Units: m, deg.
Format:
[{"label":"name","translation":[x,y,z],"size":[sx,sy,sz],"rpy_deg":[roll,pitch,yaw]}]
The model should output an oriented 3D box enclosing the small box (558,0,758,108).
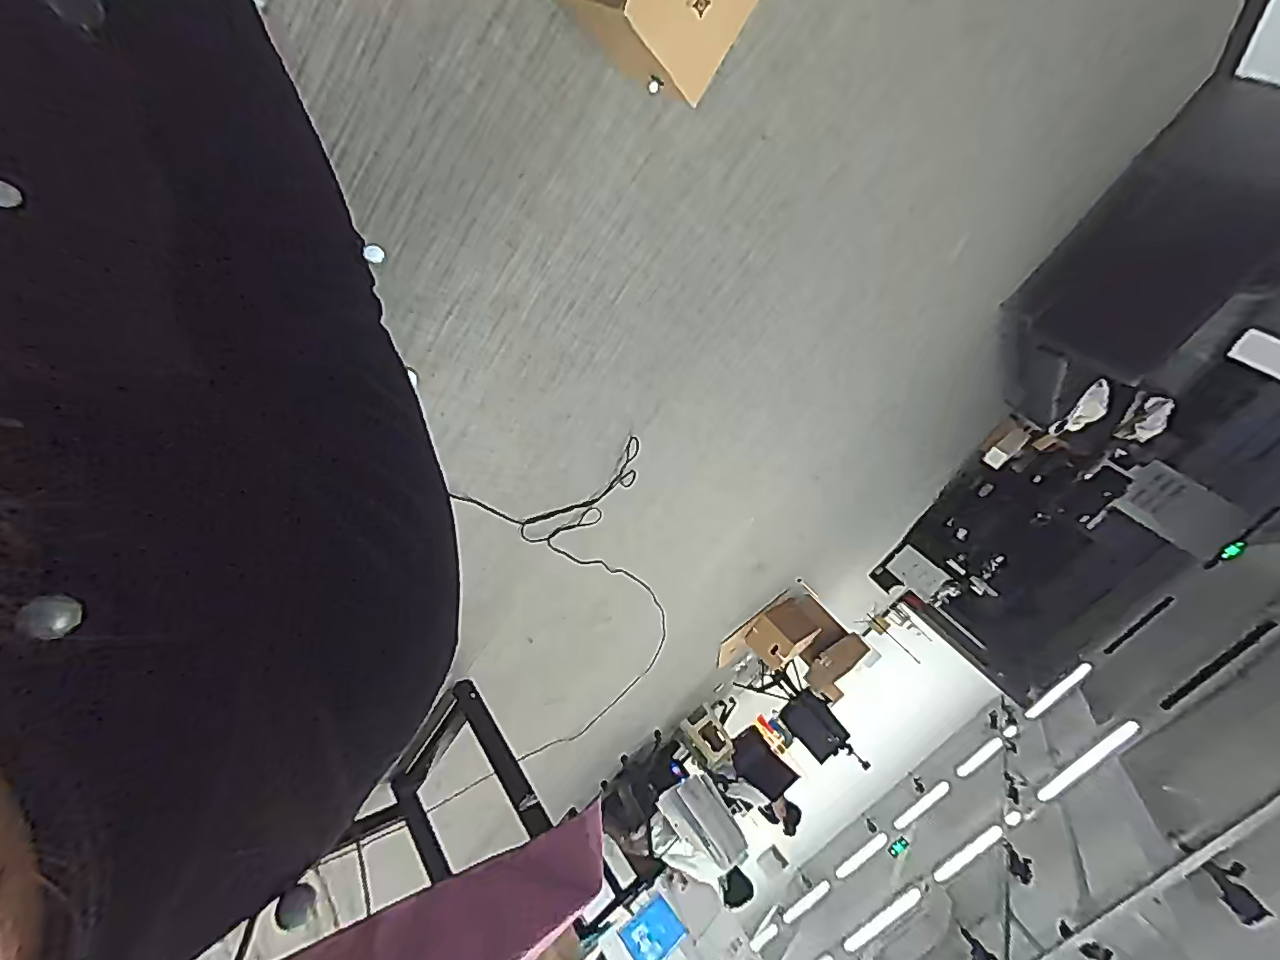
[{"label":"small box","translation":[0.019,-0.634,0.692],"size":[0.168,0.176,0.179],"rpy_deg":[-54,150,17]}]
